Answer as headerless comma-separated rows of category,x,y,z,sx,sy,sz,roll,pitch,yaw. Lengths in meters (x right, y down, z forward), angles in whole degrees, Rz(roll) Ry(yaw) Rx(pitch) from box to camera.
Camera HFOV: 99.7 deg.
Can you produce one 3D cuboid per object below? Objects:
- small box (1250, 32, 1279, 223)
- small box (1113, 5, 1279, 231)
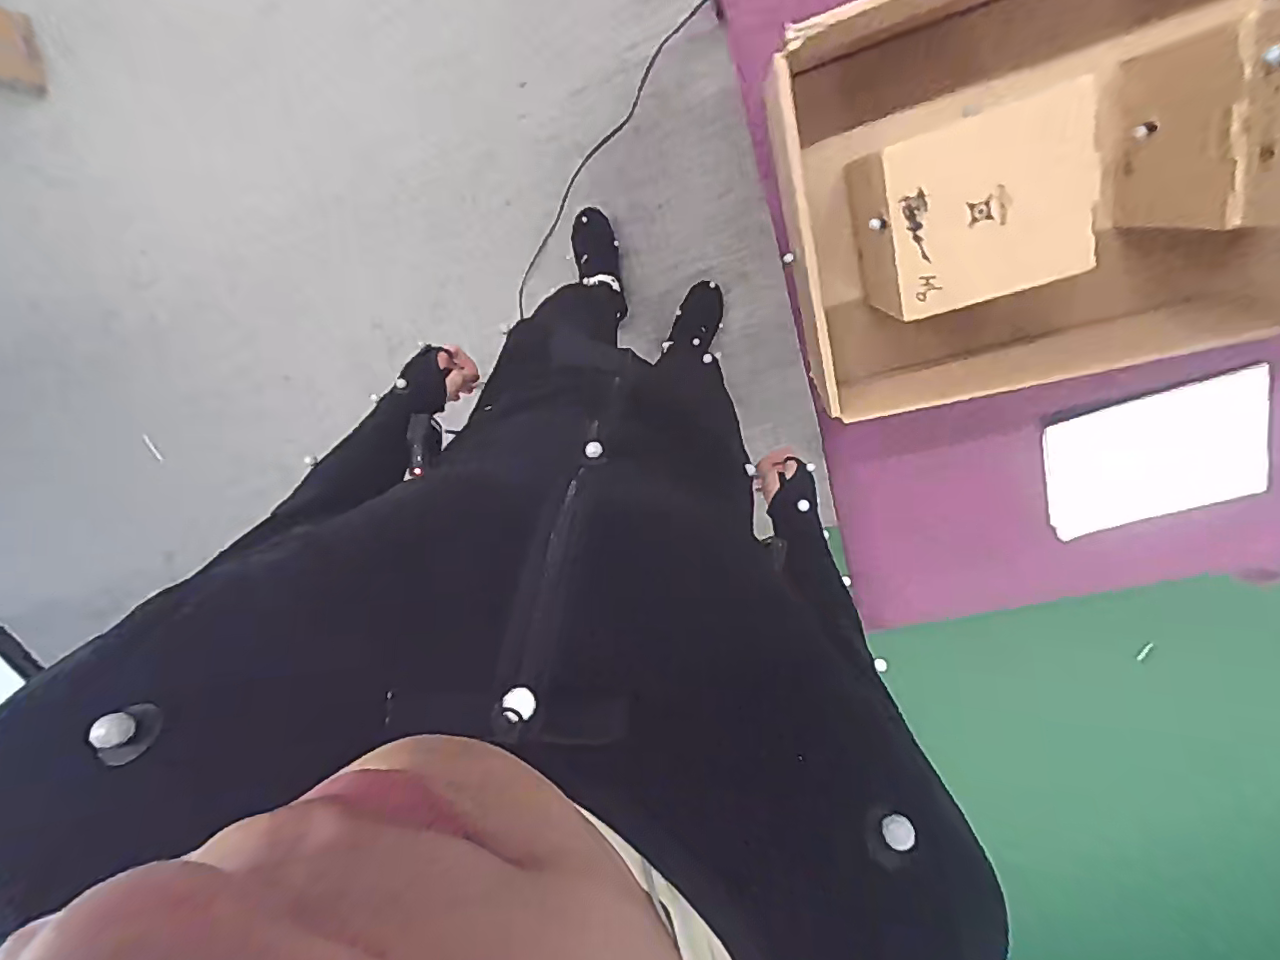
small box,0.583,-0.283,0.362,0.179,0.176,0.168,-15,113,16
small box,0.601,-0.352,0.510,0.179,0.176,0.168,-14,113,17
